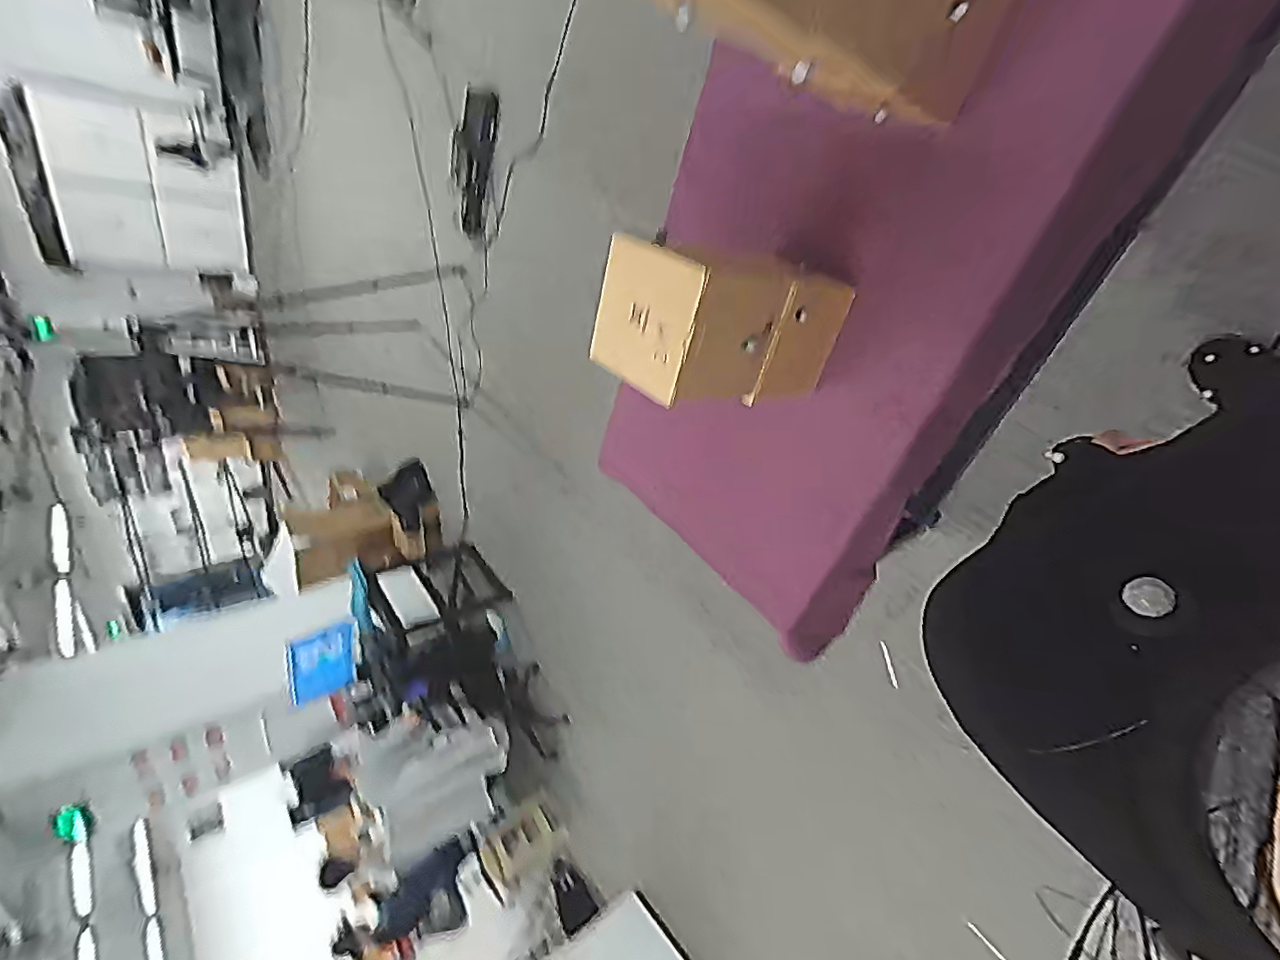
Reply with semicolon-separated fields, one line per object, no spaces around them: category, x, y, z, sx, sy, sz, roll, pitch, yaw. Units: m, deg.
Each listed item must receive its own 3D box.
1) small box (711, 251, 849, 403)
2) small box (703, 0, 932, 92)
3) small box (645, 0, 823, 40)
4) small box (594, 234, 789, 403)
small box;0.193;-0.238;0.842;0.168;0.176;0.179;39;126;36
small box;0.185;-0.512;0.522;0.168;0.176;0.179;42;130;32
small box;0.063;-0.476;0.418;0.168;0.176;0.179;41;130;32
small box;0.066;-0.218;0.737;0.179;0.176;0.168;39;127;36
